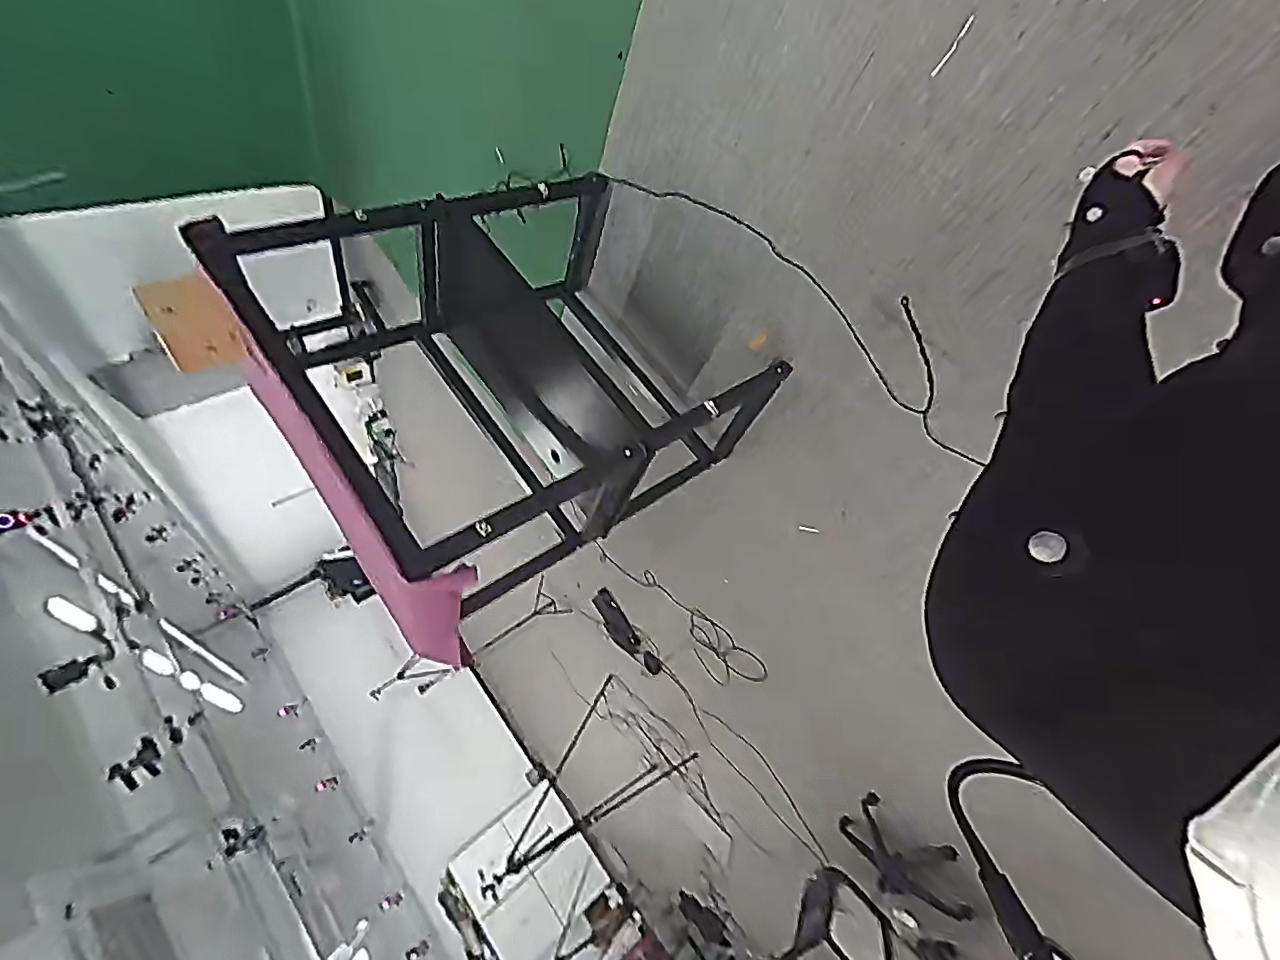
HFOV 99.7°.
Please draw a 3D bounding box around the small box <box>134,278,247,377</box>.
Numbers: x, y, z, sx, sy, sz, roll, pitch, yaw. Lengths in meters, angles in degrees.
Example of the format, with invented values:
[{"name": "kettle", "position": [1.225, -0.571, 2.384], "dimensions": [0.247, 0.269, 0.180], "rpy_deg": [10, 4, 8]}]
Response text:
[{"name": "small box", "position": [-1.189, -0.412, 1.450], "dimensions": [0.179, 0.176, 0.168], "rpy_deg": [53, 145, 11]}]
